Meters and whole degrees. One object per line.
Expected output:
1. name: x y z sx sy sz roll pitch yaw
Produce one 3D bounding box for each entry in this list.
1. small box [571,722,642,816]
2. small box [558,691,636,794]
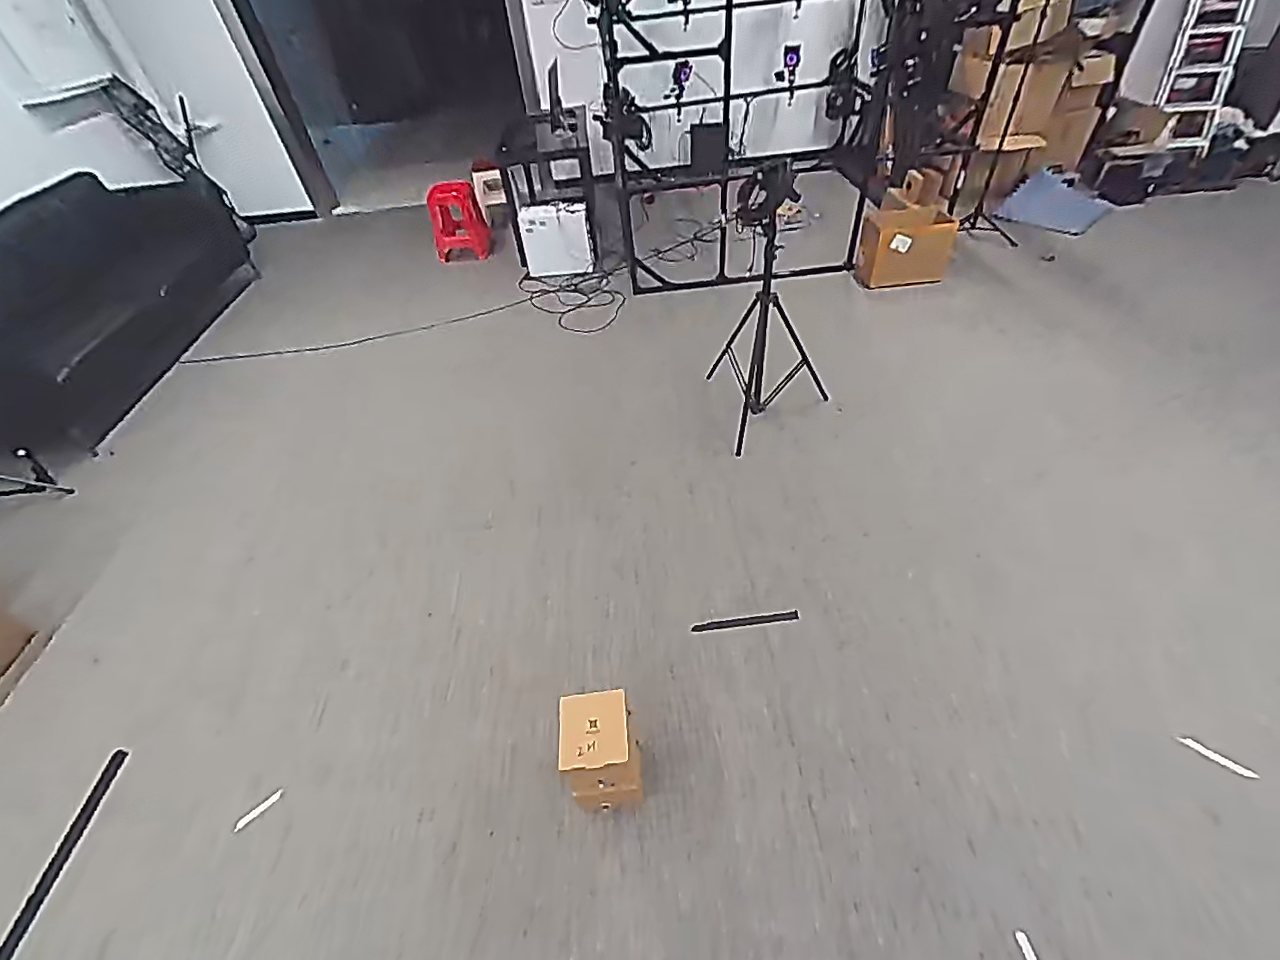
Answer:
1. small box: -0.087 0.771 1.445 0.168 0.176 0.179 -8 45 1
2. small box: -0.103 0.649 1.335 0.168 0.176 0.179 -8 45 1
